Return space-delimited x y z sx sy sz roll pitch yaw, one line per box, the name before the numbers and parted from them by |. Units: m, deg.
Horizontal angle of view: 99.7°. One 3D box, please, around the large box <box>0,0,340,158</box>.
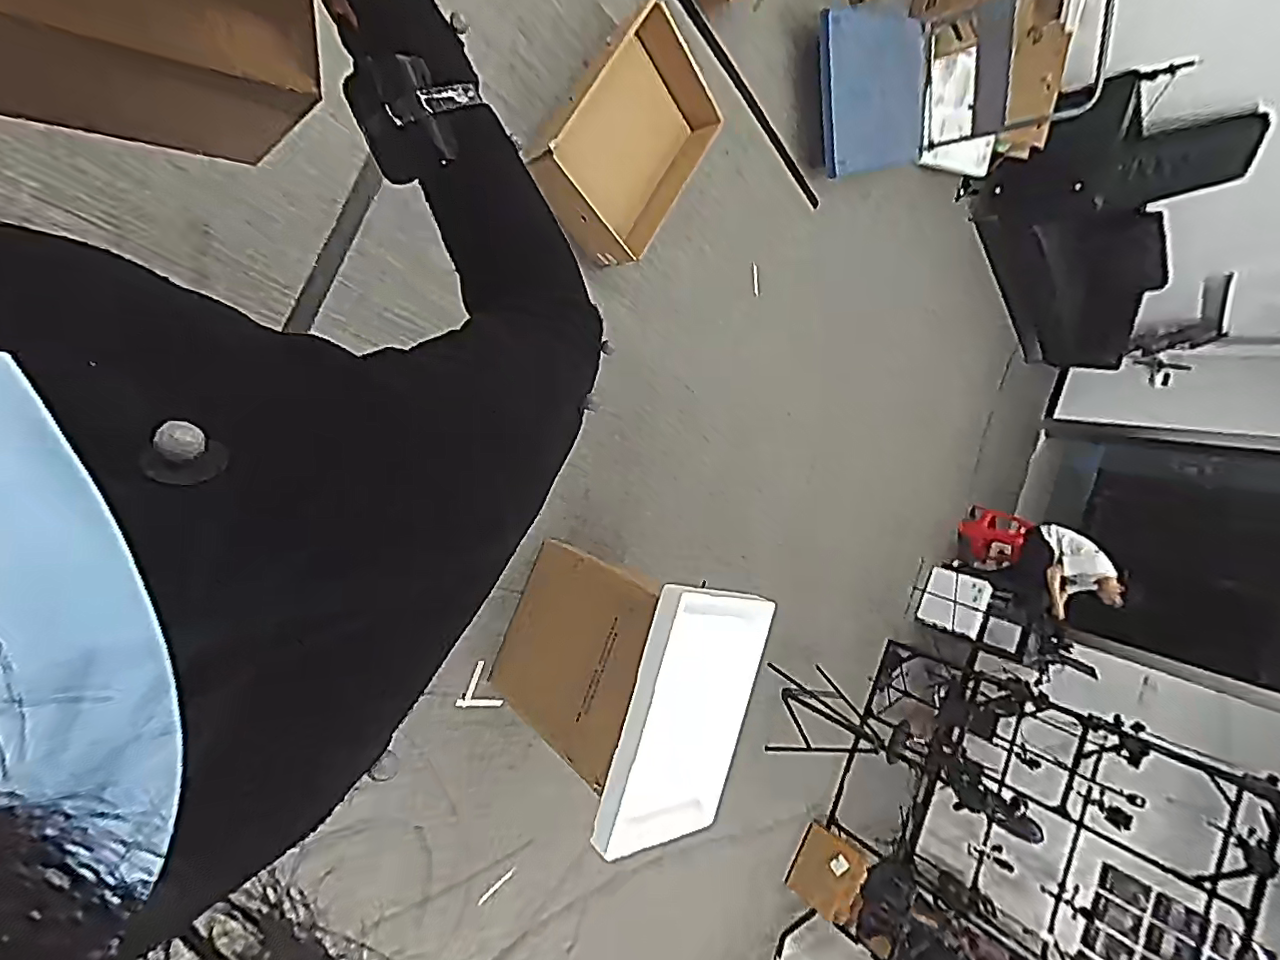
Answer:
large box | -0.440 -0.412 0.303 0.408 0.320 0.320 -11 111 -39
